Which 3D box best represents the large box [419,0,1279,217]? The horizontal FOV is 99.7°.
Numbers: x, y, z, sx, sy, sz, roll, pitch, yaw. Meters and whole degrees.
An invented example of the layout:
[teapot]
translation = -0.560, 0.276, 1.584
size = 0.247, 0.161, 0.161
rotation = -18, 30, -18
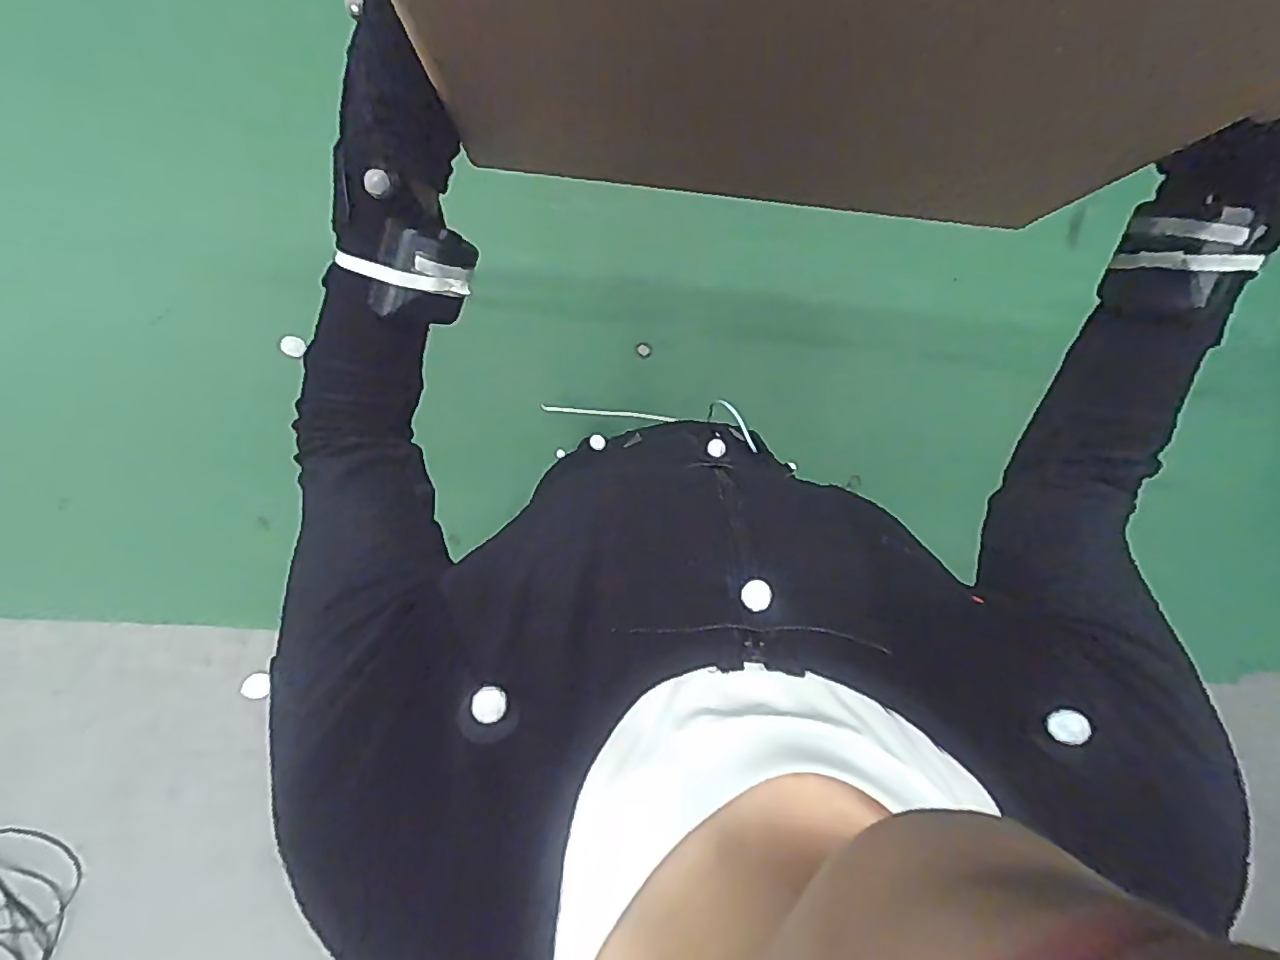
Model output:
[large box]
translation = 0.108, -0.345, 0.228
size = 0.408, 0.320, 0.320
rotation = 5, 94, -5
